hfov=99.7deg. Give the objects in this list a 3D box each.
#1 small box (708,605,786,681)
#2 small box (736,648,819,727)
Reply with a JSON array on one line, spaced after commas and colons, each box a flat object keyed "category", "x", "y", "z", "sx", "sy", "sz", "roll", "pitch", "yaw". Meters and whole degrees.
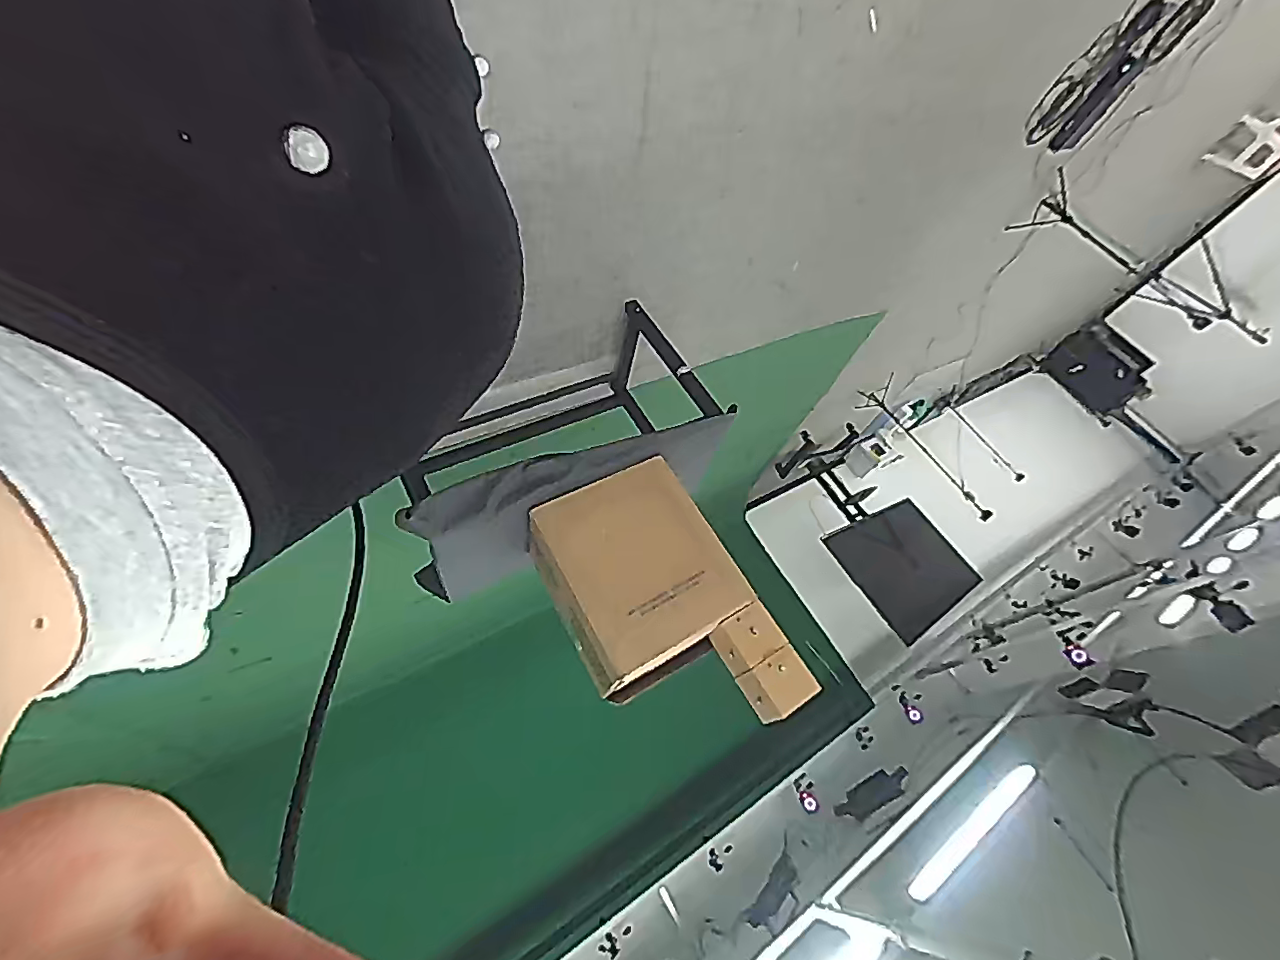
[{"category": "small box", "x": 0.351, "y": 0.543, "z": 1.814, "sx": 0.168, "sy": 0.176, "sz": 0.179, "roll": -25, "pitch": 157, "yaw": -21}, {"category": "small box", "x": 0.437, "y": 0.671, "z": 1.755, "sx": 0.168, "sy": 0.176, "sz": 0.179, "roll": -26, "pitch": 157, "yaw": -23}]
